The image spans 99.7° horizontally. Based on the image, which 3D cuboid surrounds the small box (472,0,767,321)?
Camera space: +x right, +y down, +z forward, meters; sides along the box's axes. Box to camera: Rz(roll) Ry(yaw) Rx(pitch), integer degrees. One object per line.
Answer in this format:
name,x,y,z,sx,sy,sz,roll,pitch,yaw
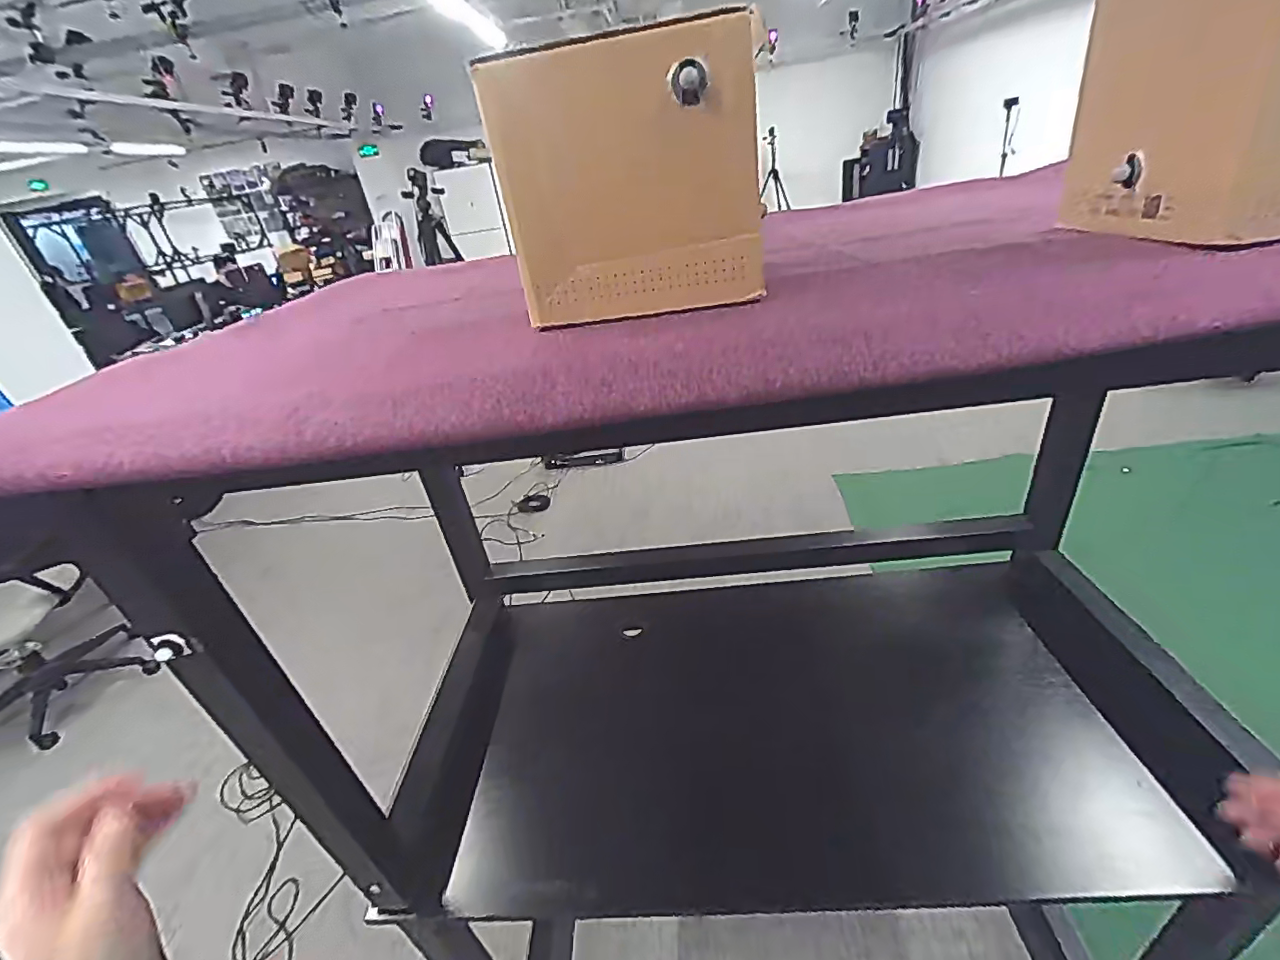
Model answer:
small box,-0.001,-0.230,0.423,0.179,0.176,0.168,-5,29,7
